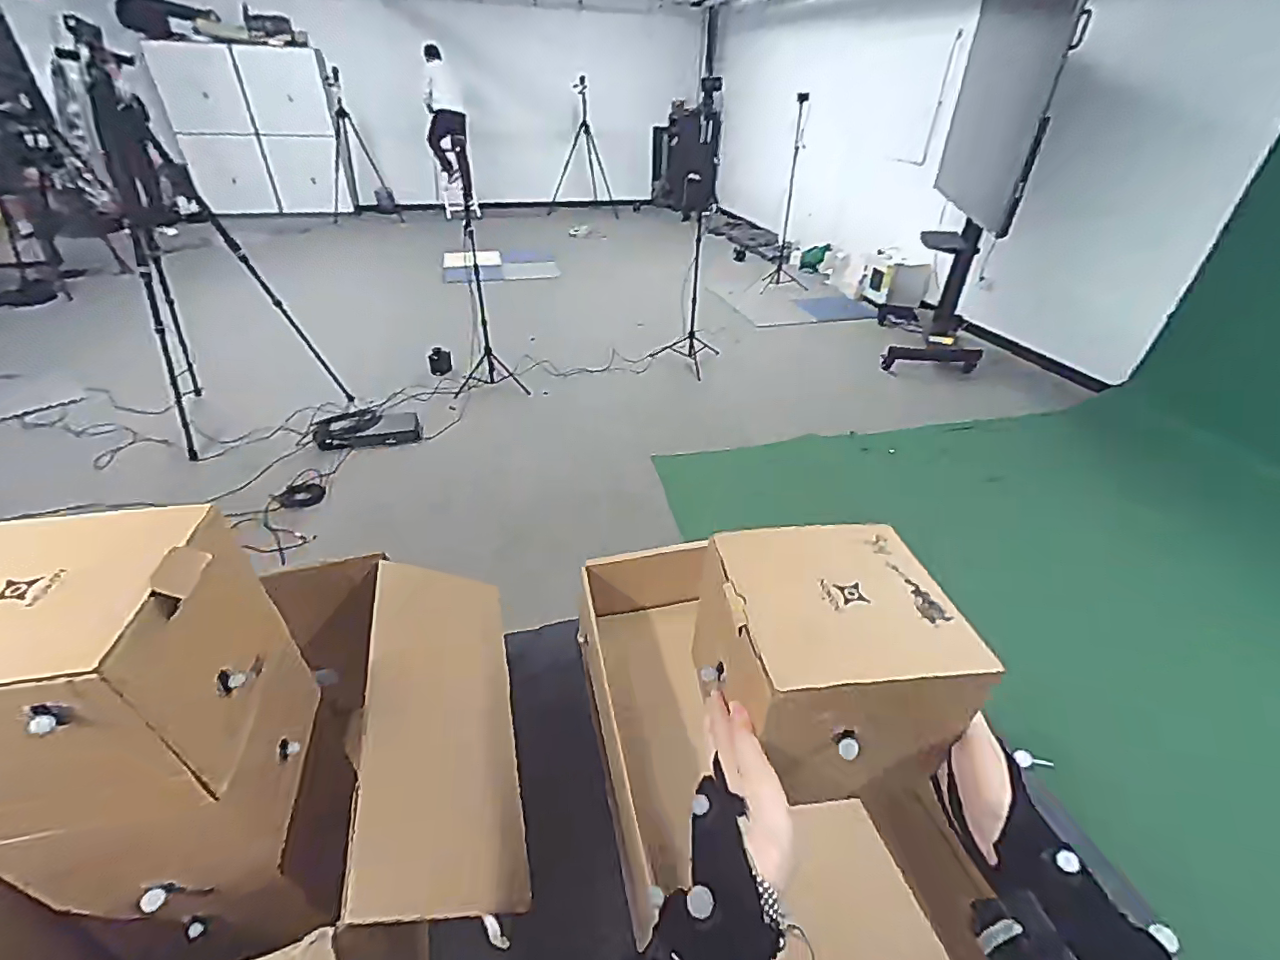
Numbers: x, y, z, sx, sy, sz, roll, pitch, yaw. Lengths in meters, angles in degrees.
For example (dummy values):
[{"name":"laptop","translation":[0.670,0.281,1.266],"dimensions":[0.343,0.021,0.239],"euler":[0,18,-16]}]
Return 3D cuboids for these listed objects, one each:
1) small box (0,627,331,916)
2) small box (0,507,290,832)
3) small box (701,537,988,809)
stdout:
[{"name":"small box","translation":[-0.420,0.271,0.517],"dimensions":[0.168,0.176,0.179],"euler":[-6,38,-11]},{"name":"small box","translation":[-0.416,0.143,0.420],"dimensions":[0.179,0.176,0.168],"euler":[-5,37,-10]},{"name":"small box","translation":[0.157,0.171,0.490],"dimensions":[0.179,0.176,0.168],"euler":[-2,35,-8]}]
